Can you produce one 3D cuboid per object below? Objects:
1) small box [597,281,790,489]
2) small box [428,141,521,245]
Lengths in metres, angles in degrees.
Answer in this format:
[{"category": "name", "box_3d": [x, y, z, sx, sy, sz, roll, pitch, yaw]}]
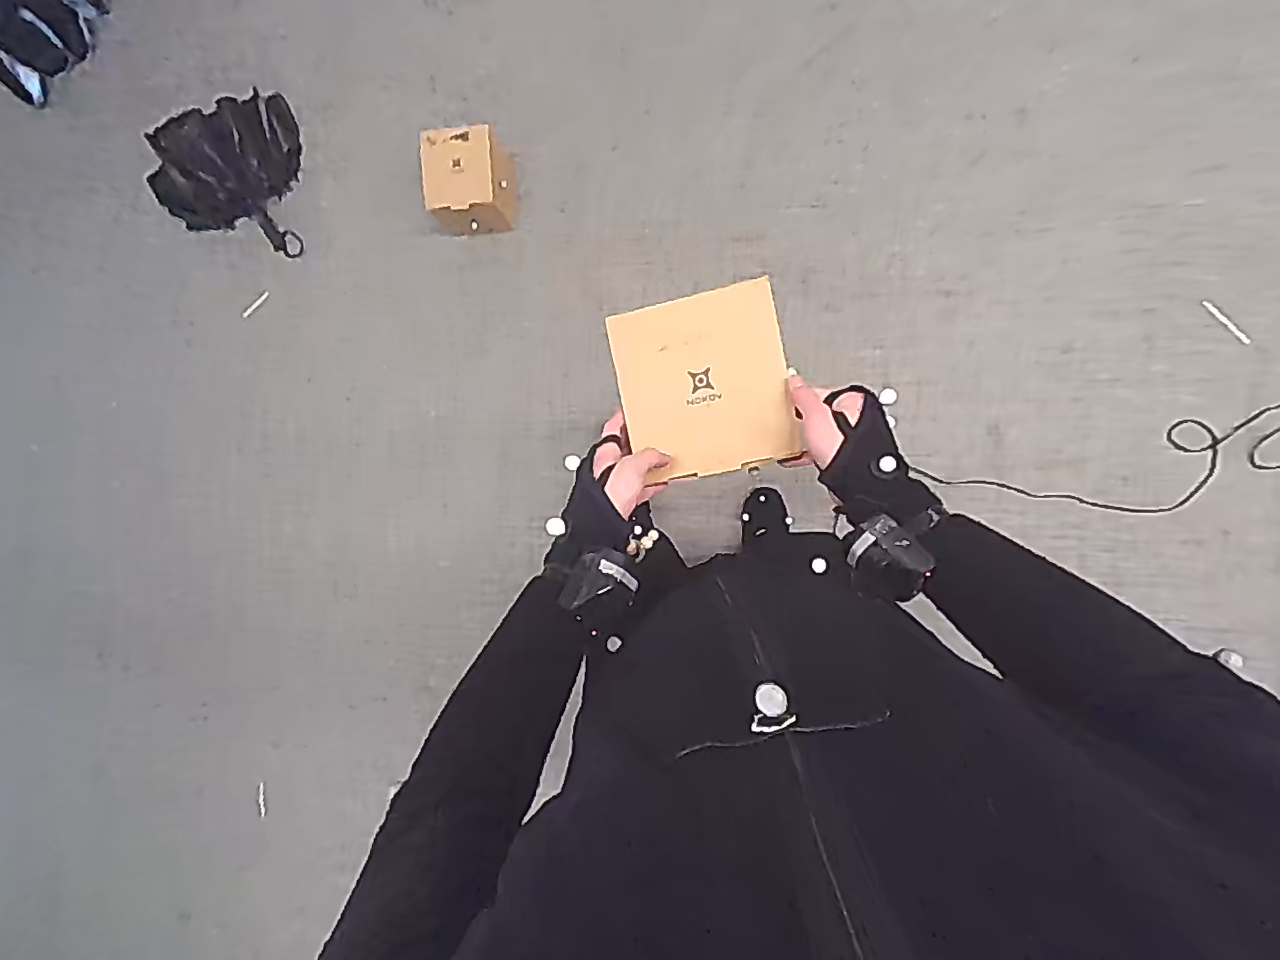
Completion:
[{"category": "small box", "box_3d": [0.066, -0.095, 0.611, 0.168, 0.176, 0.179, -13, 89, 10]}, {"category": "small box", "box_3d": [-0.401, -0.698, 1.338, 0.168, 0.176, 0.179, -3, 94, 6]}]
